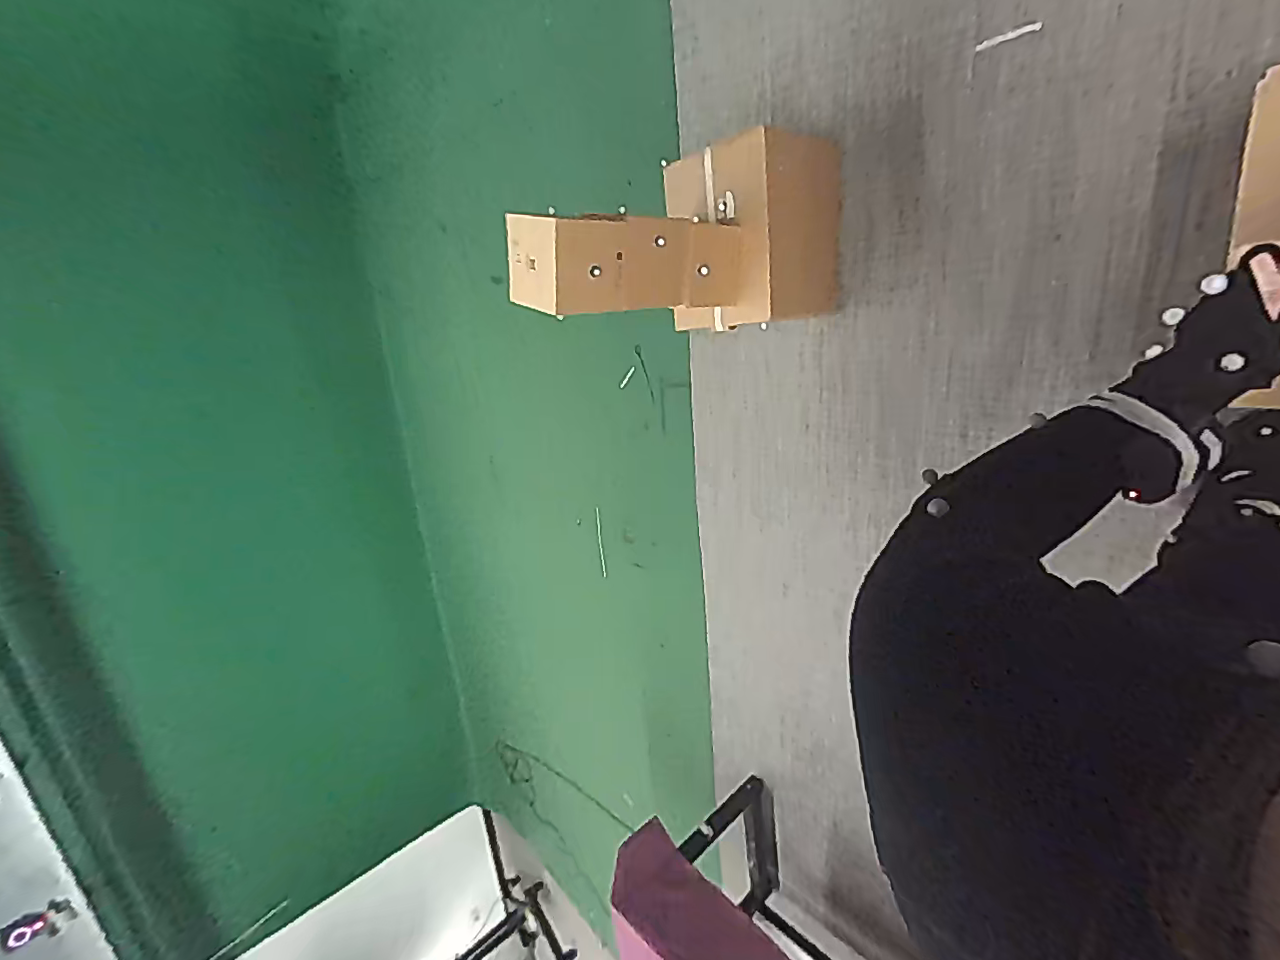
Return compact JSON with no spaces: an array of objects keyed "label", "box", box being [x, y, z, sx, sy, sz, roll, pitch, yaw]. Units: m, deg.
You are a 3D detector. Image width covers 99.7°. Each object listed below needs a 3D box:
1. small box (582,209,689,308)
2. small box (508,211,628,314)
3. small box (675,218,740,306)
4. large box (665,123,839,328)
[{"label":"small box","box":[-0.011,-0.477,1.160,0.168,0.176,0.179,30,127,41]},{"label":"small box","box":[-0.140,-0.433,1.066,0.179,0.176,0.168,31,127,41]},{"label":"small box","box":[0.114,-0.508,1.259,0.168,0.176,0.179,26,124,43]},{"label":"large box","box":[0.294,-0.618,1.390,0.320,0.320,0.408,12,113,47]}]
